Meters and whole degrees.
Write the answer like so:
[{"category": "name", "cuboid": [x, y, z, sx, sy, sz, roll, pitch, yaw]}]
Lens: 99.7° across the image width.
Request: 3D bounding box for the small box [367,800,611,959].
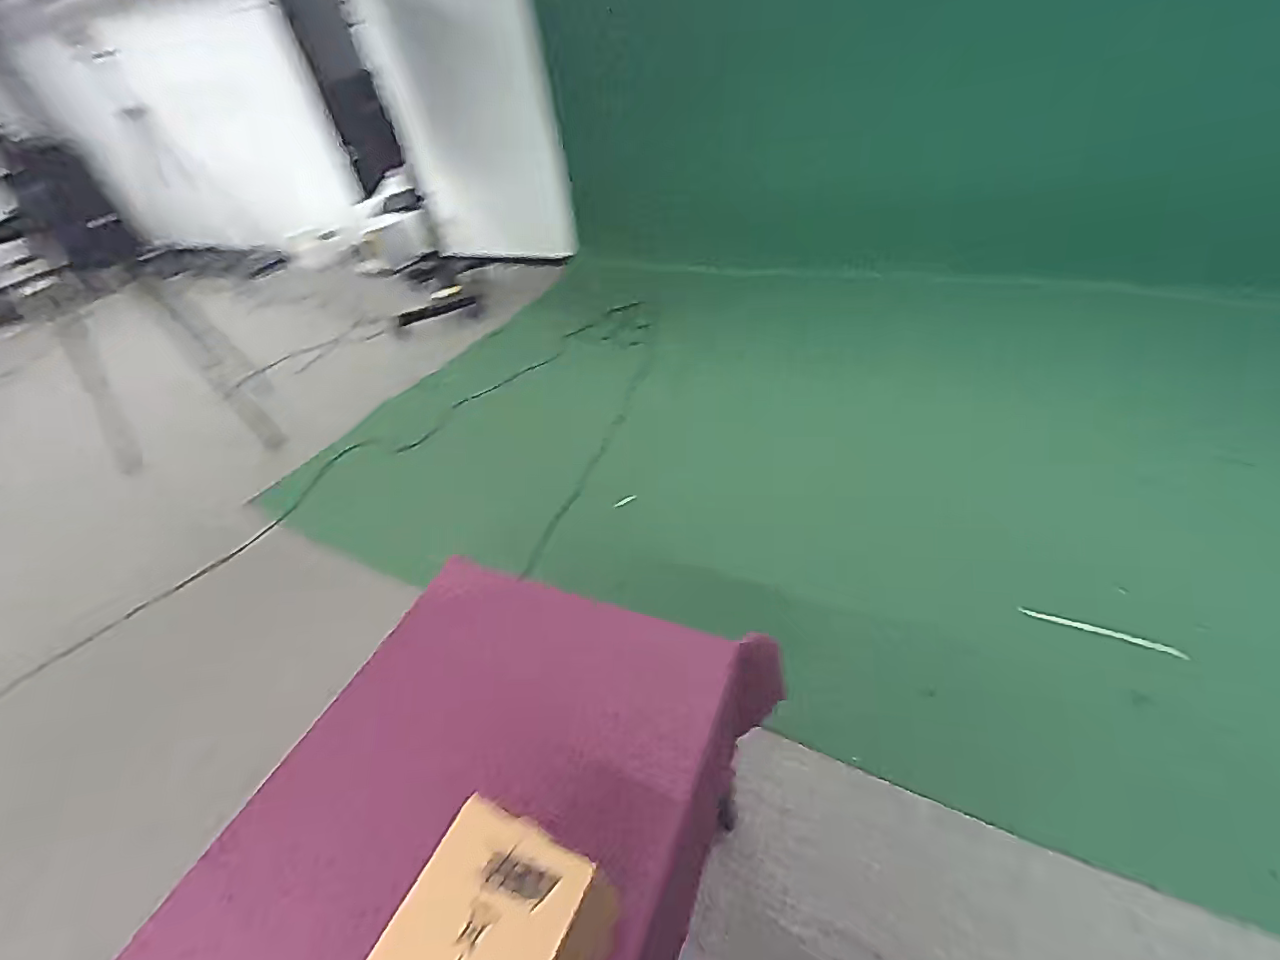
[{"category": "small box", "cuboid": [-0.143, 0.485, 0.566, 0.168, 0.176, 0.179, 11, 46, 25]}]
